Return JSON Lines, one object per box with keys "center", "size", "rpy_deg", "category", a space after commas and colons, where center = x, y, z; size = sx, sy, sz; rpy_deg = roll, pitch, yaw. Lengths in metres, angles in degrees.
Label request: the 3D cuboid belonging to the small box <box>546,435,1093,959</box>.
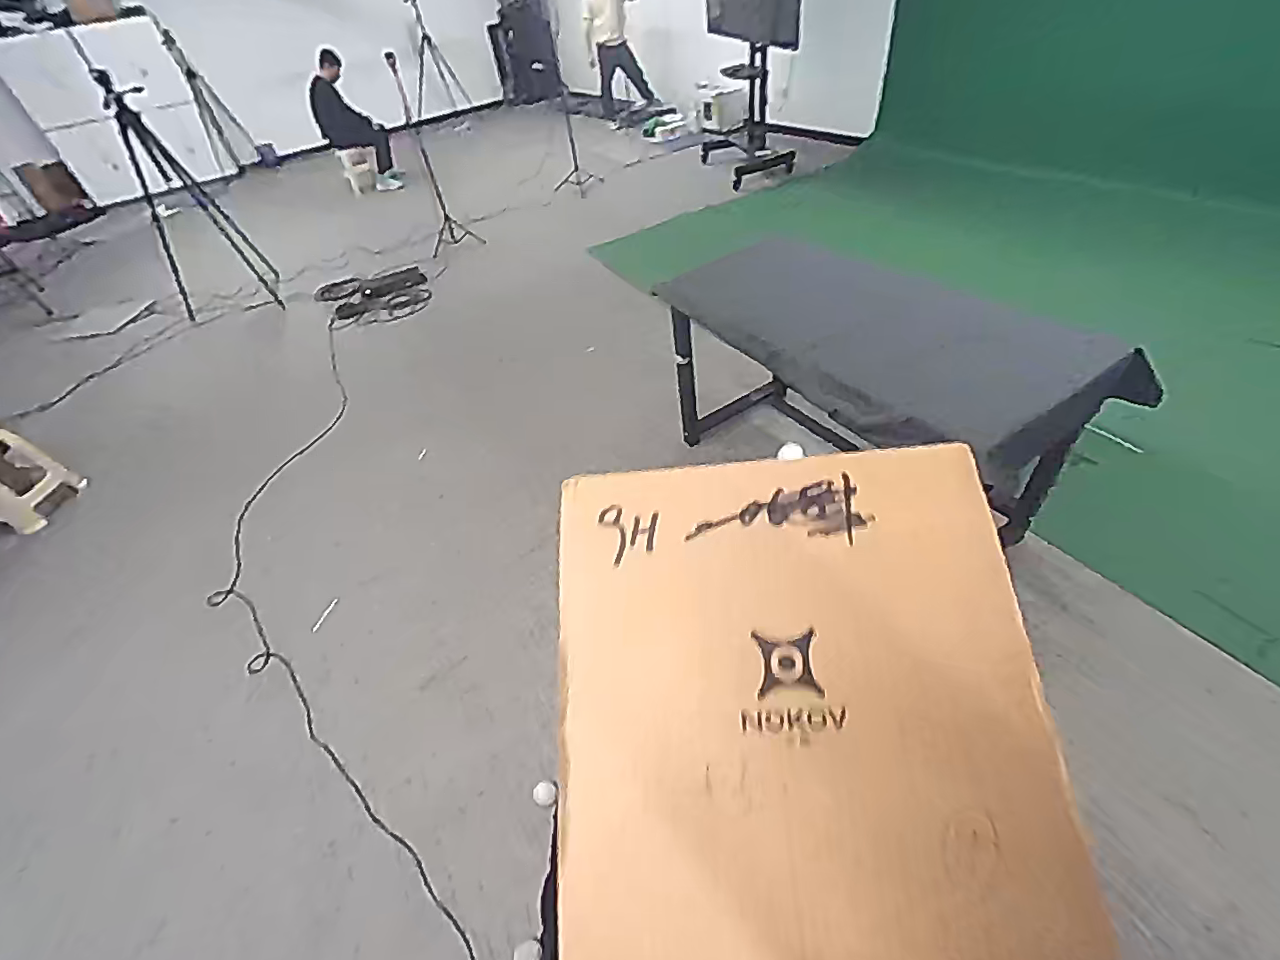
{"center": [0.055, 0.095, 0.265], "size": [0.168, 0.176, 0.179], "rpy_deg": [-4, 70, 3], "category": "small box"}
